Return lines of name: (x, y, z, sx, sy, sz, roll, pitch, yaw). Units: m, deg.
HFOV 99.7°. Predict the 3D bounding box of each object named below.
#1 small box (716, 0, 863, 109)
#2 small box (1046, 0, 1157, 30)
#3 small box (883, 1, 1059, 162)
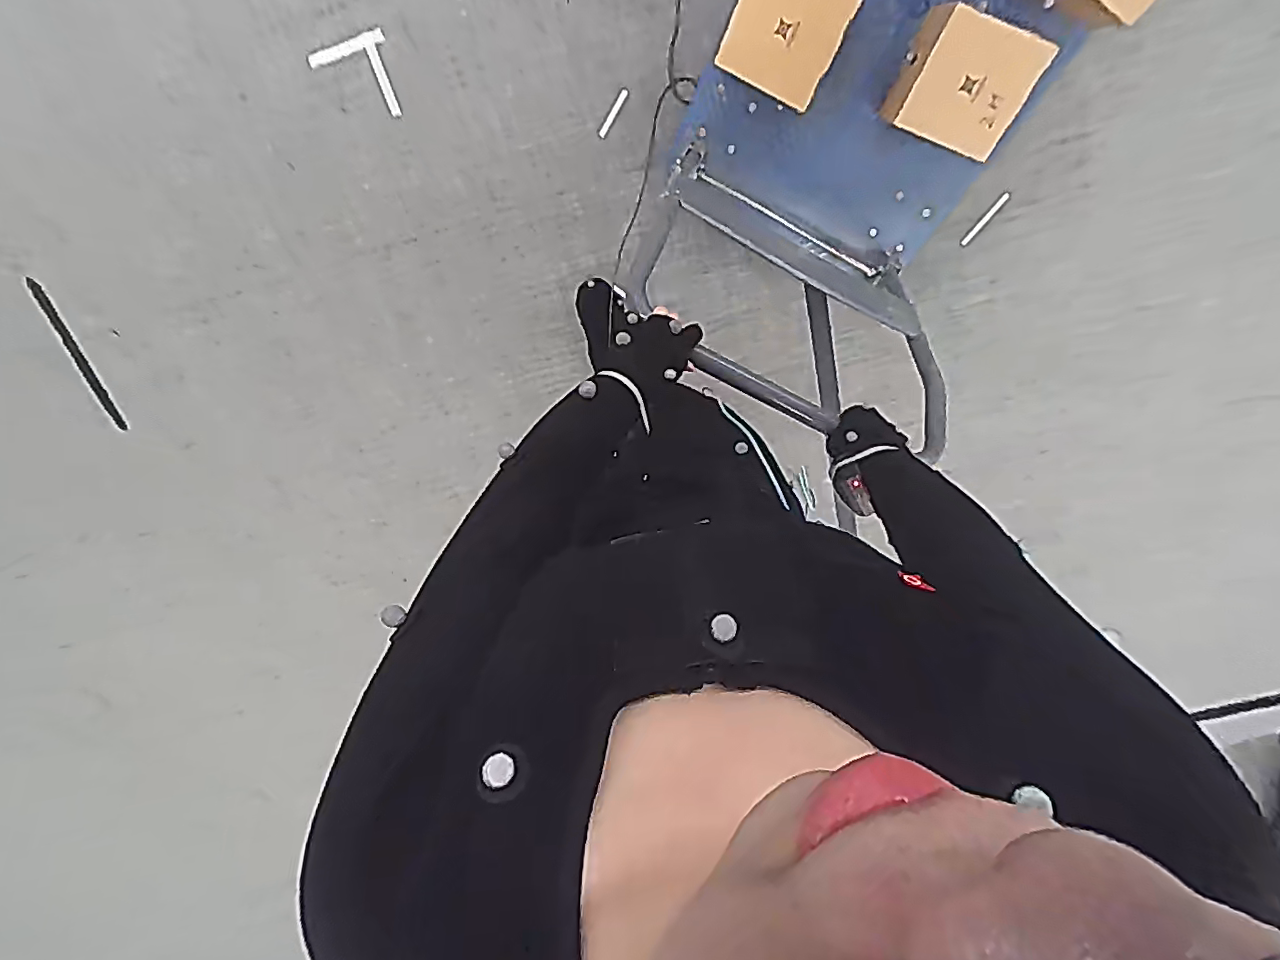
small box: (0.245, -0.766, 0.919, 0.179, 0.176, 0.168, 23, 130, -8)
small box: (0.704, -0.803, 0.786, 0.168, 0.176, 0.179, 29, 130, -10)
small box: (0.545, -0.676, 0.925, 0.179, 0.176, 0.168, 21, 130, -4)
